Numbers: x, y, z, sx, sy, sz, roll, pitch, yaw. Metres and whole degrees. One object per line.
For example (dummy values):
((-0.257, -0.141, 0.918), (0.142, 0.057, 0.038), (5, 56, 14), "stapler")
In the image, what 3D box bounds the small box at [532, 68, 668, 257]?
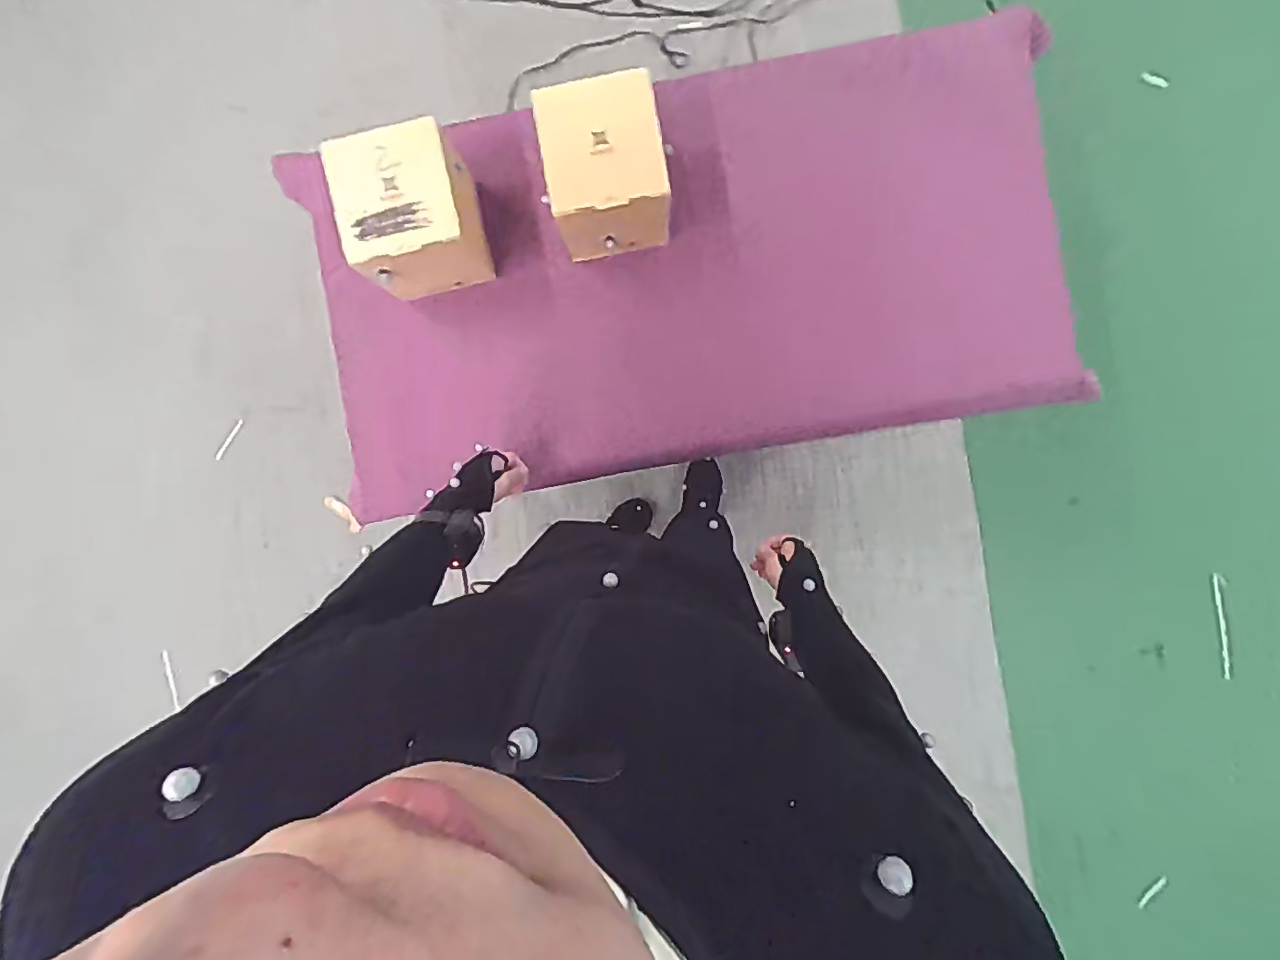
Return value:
((-0.054, -0.469, 0.825), (0.168, 0.176, 0.179), (-11, 92, 3), "small box")
